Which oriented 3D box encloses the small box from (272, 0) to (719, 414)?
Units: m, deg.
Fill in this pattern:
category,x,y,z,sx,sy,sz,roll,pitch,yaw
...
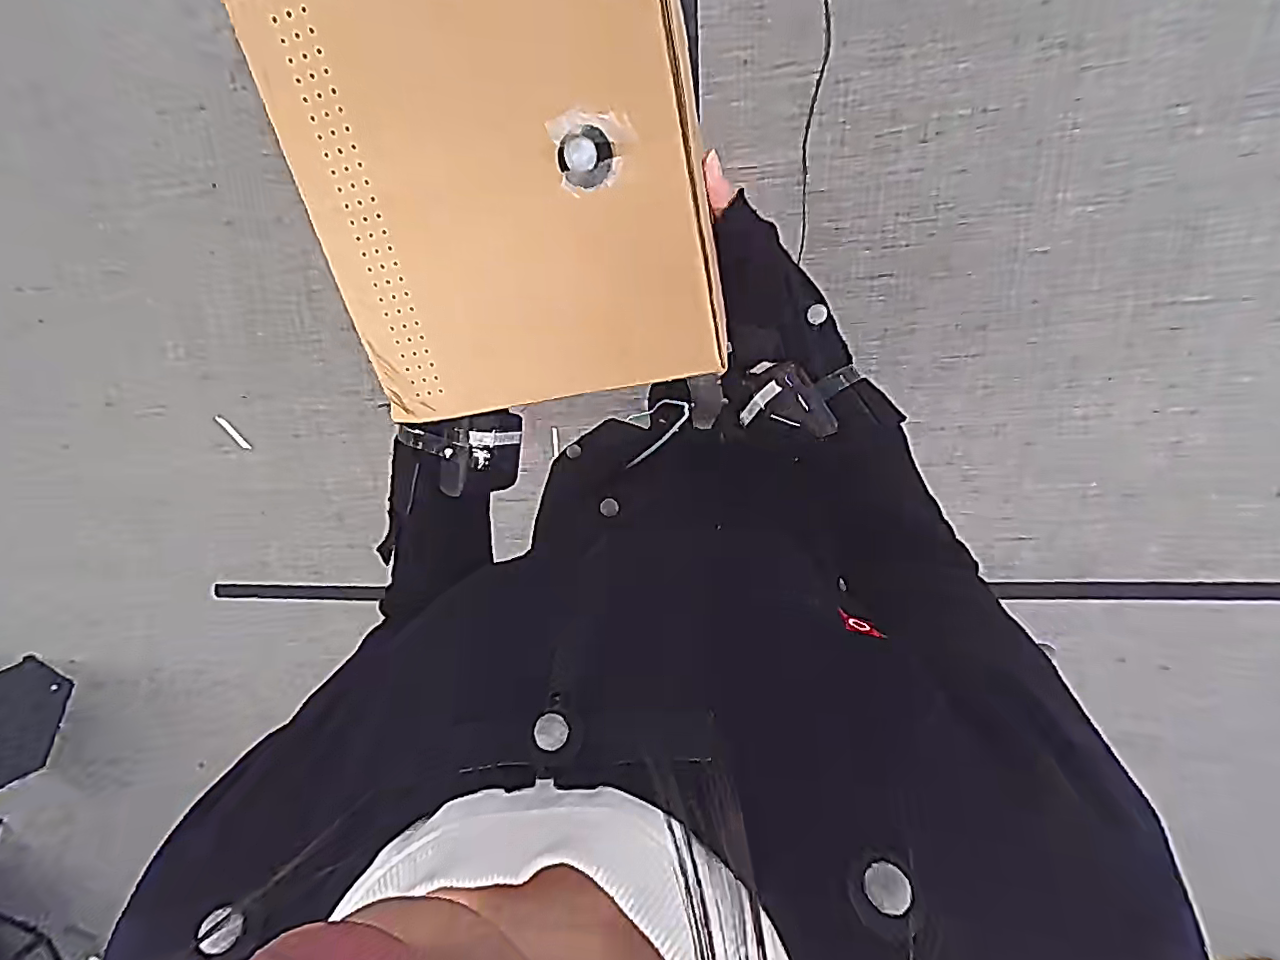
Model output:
category,x,y,z,sx,sy,sz,roll,pitch,yaw
small box,-0.053,-0.152,0.304,0.176,0.168,0.179,-7,113,12
